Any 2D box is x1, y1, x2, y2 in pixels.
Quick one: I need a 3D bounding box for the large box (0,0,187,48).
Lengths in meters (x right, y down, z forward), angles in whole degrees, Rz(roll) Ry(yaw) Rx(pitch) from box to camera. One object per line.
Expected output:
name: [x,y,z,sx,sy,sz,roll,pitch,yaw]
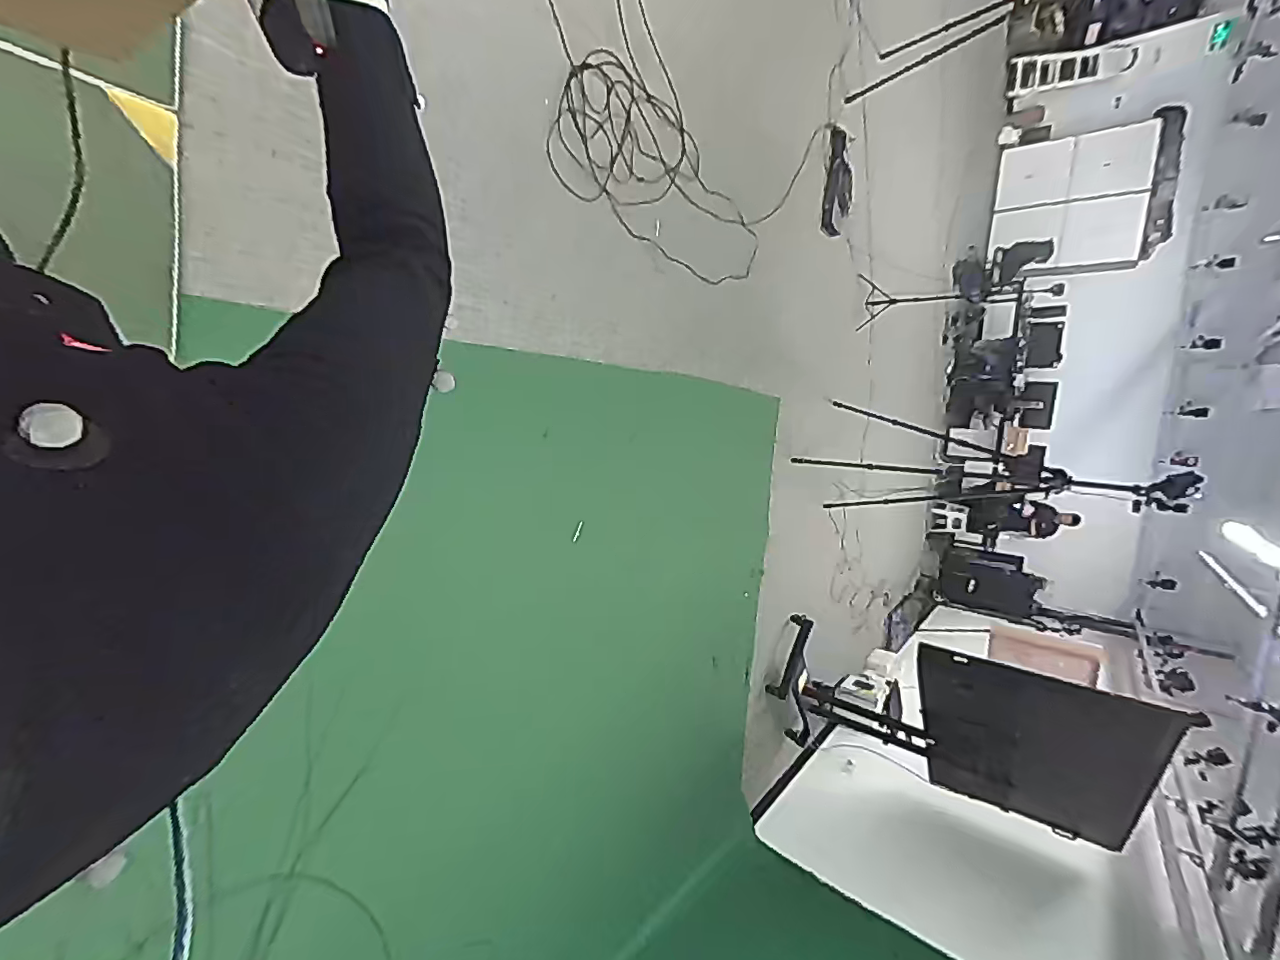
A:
large box: [-0.485,-0.490,0.247,0.408,0.320,0.320,-14,116,-51]
